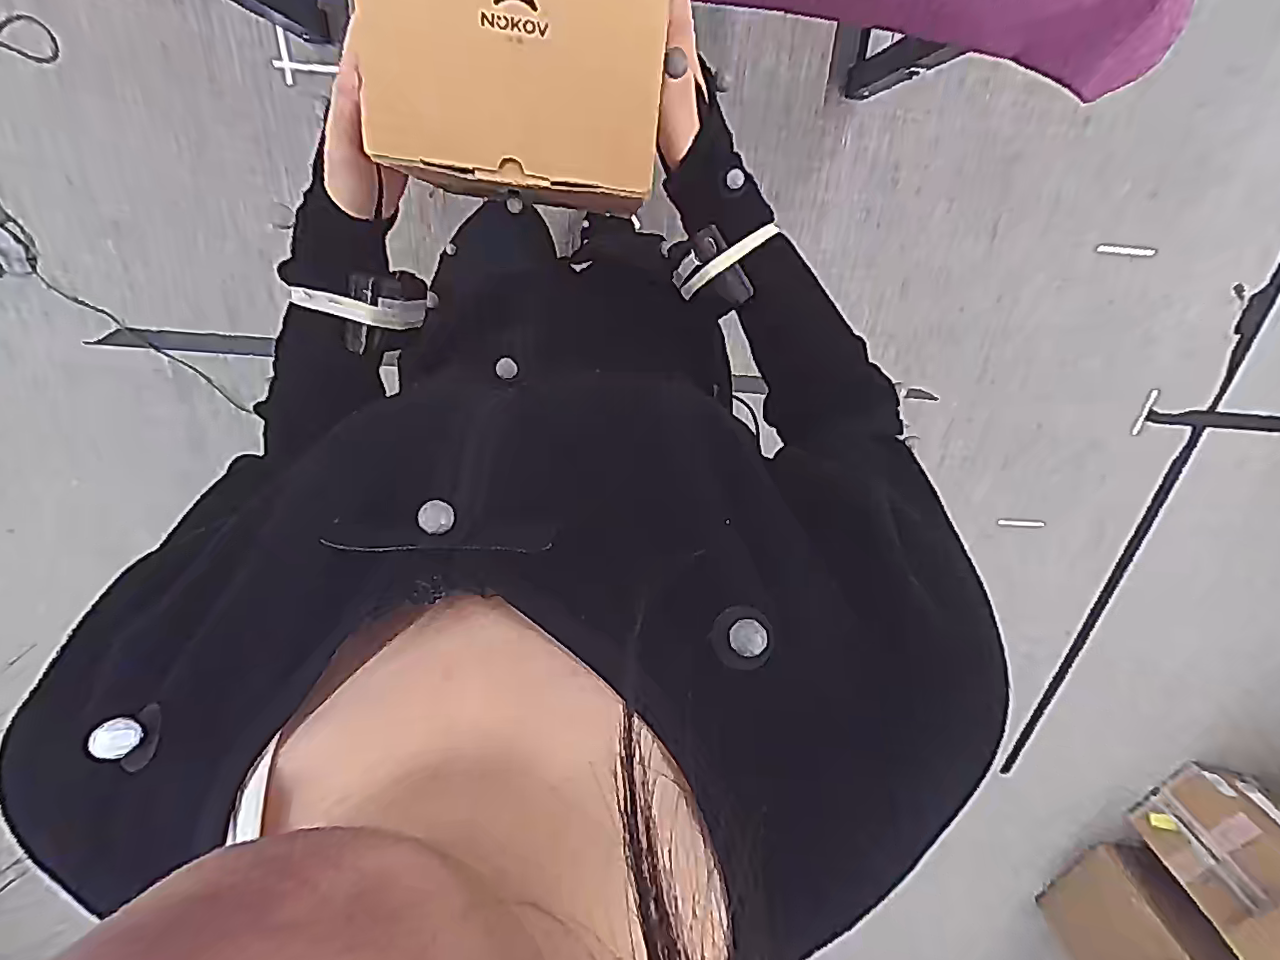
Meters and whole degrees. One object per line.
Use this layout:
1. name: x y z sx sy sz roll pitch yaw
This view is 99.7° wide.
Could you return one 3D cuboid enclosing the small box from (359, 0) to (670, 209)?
1. small box: -0.073 -0.293 0.363 0.168 0.176 0.179 4 113 -7
